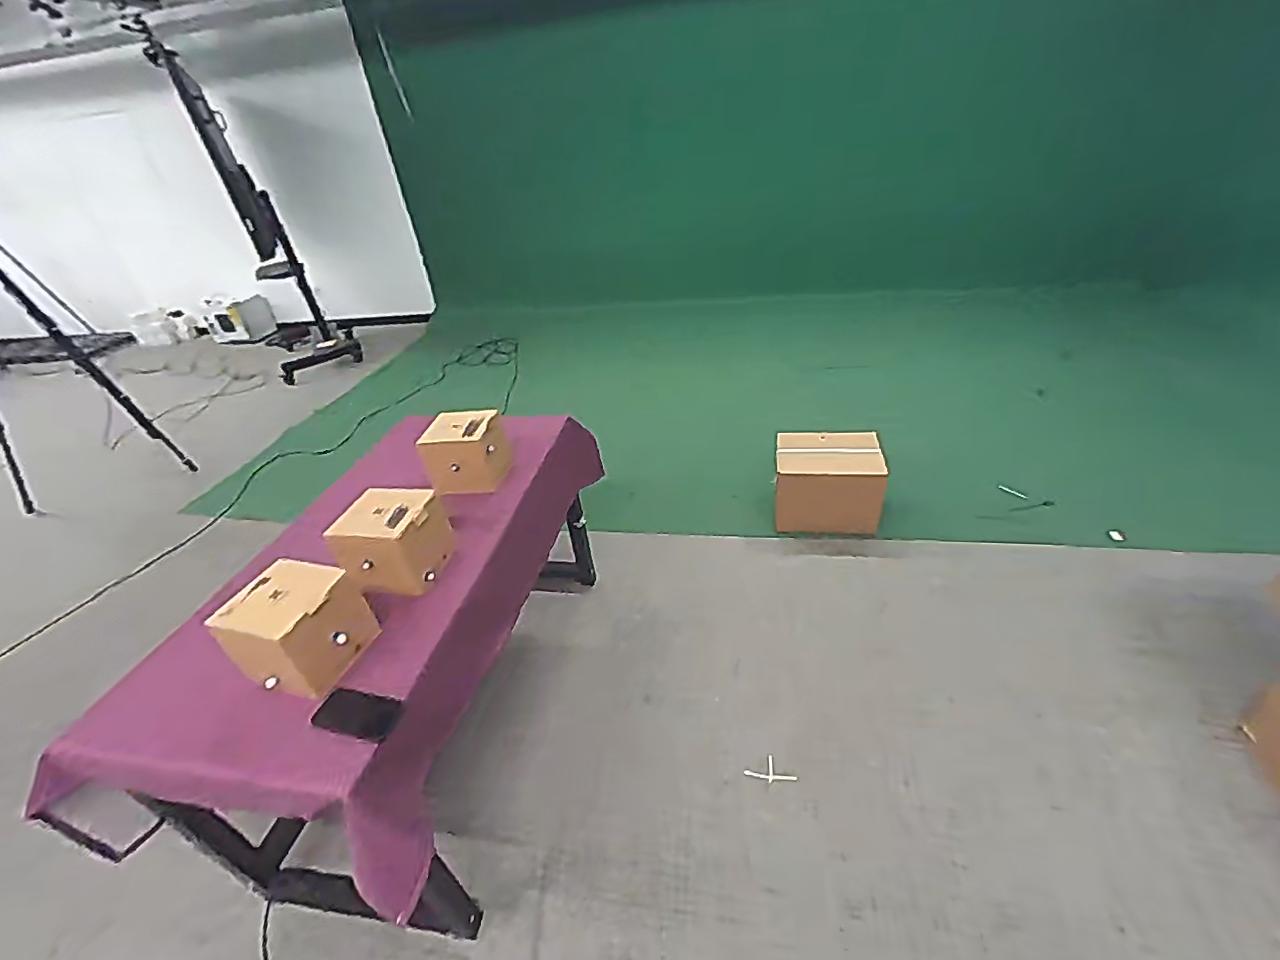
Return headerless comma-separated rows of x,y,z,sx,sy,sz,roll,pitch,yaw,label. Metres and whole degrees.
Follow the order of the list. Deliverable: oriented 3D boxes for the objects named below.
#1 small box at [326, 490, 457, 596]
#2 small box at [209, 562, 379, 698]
-0.534,0.139,1.193,0.179,0.176,0.168,0,35,13,small box
-0.628,0.280,1.009,0.179,0.176,0.168,5,36,18,small box
